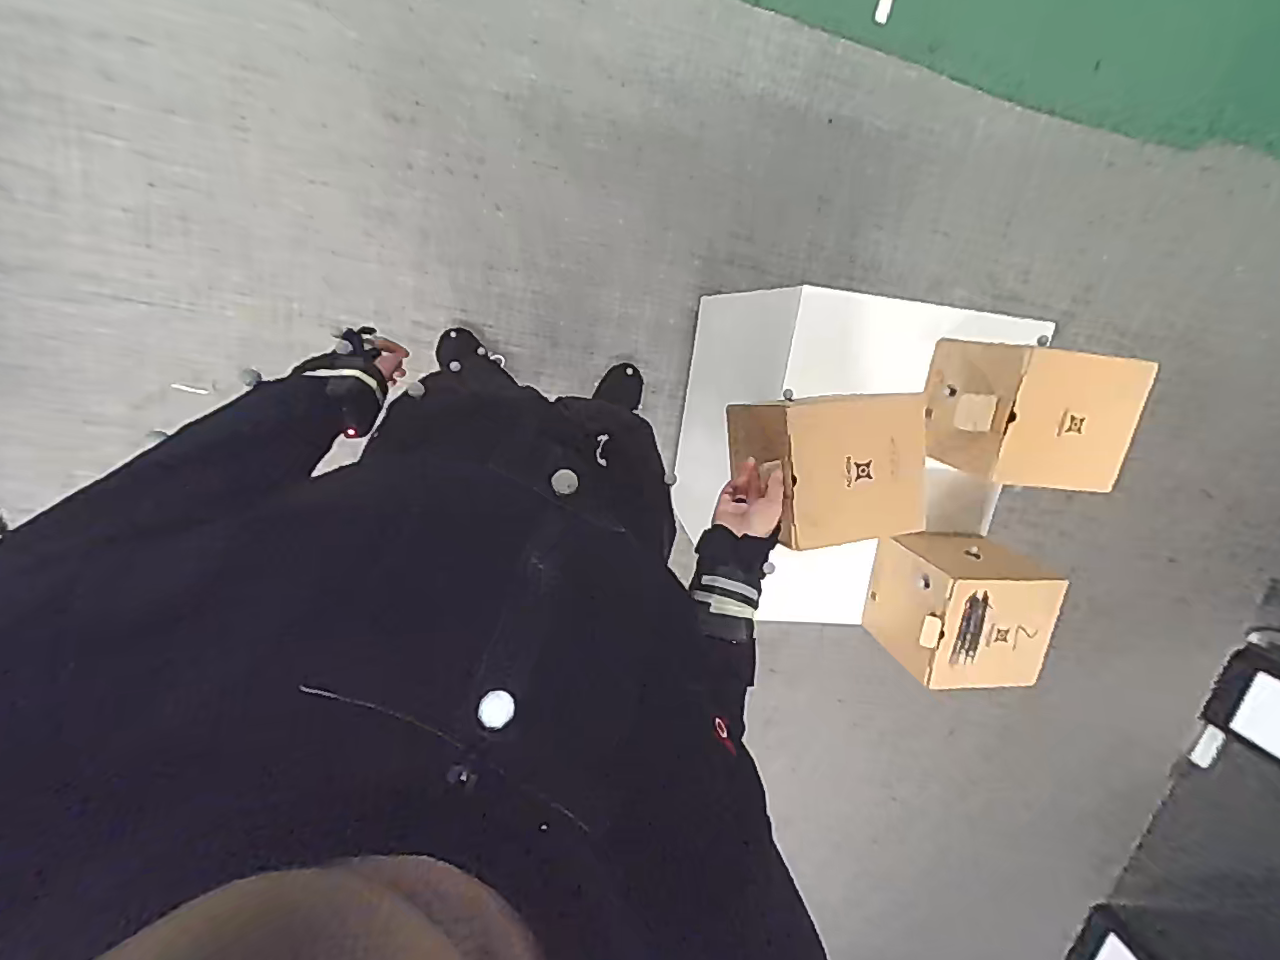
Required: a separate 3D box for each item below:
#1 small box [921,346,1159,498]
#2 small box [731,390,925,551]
[{"bbox_3d":[0.512,-0.085,0.727,0.179,0.176,0.168,5,107,-8],"label":"small box"},{"bbox_3d":[0.225,-0.021,0.683,0.179,0.176,0.168,-9,100,-14],"label":"small box"}]
